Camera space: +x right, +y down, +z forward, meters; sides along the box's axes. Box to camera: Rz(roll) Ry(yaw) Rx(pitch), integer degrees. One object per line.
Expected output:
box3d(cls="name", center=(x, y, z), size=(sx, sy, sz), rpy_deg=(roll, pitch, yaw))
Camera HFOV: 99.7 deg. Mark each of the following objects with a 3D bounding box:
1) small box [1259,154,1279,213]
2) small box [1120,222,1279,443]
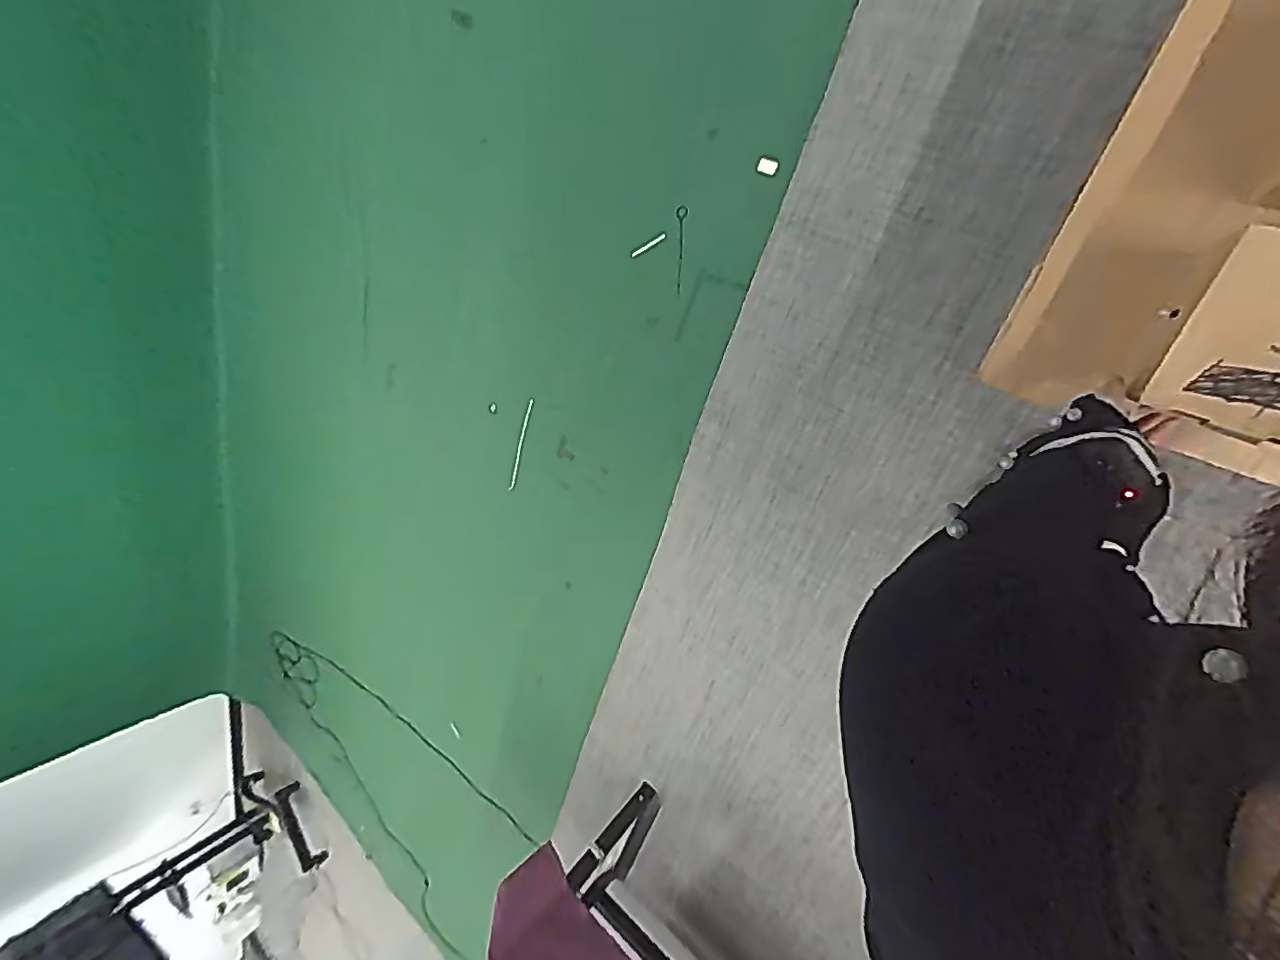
box3d(cls="small box", center=(0.713, -0.331, 0.466), size=(0.168, 0.176, 0.179), rpy_deg=(30, 115, 28))
box3d(cls="small box", center=(0.643, -0.143, 0.559), size=(0.168, 0.176, 0.179), rpy_deg=(27, 114, 27))
